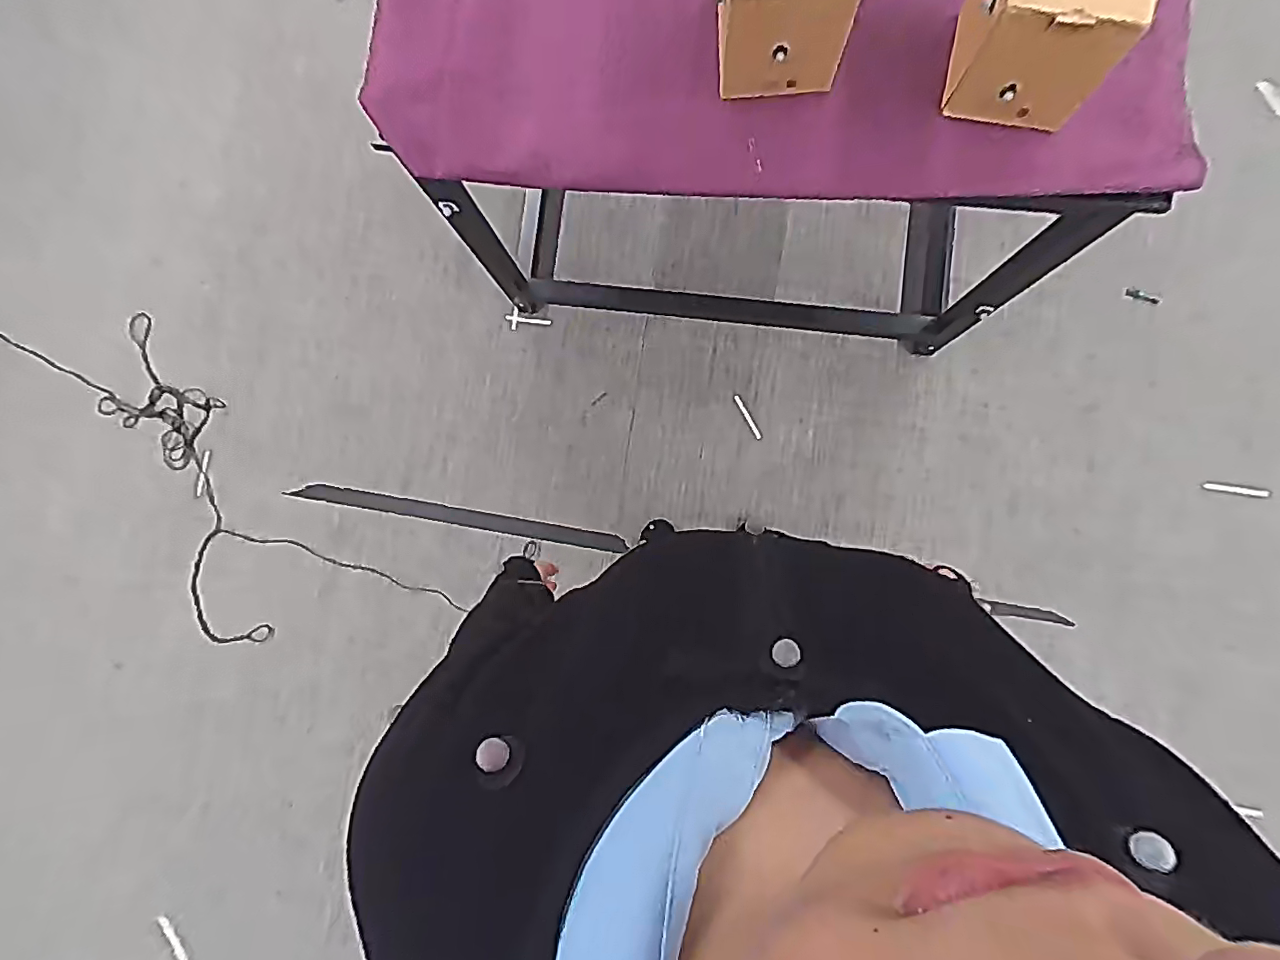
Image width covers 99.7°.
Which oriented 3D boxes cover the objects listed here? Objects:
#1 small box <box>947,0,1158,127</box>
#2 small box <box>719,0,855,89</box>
[{"bbox_3d":[0.538,-0.620,0.718,0.168,0.176,0.179,12,85,6],"label":"small box"},{"bbox_3d":[0.199,-0.681,0.750,0.168,0.176,0.179,-1,85,4],"label":"small box"}]
